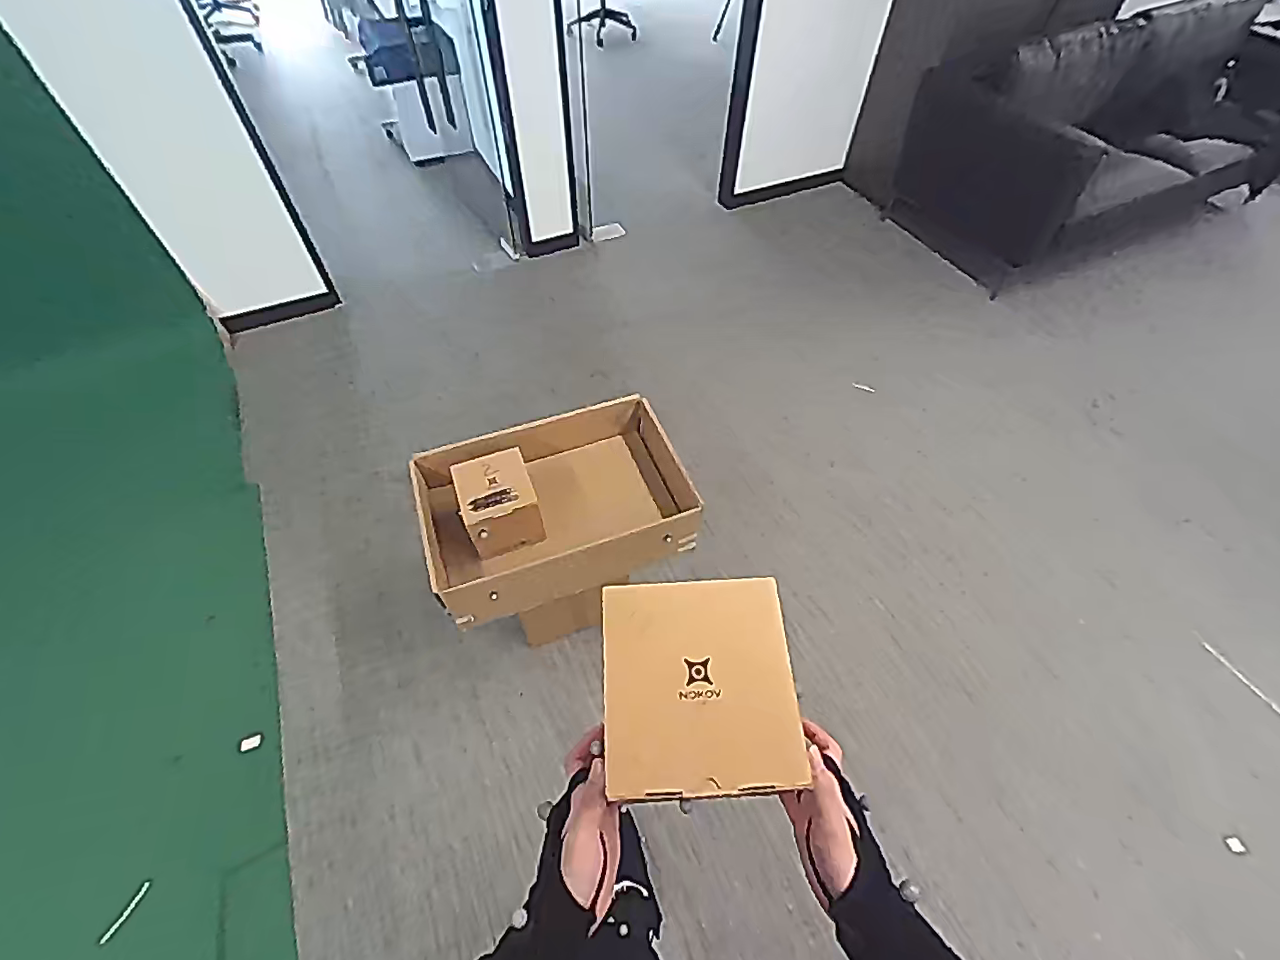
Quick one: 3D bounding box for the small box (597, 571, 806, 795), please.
[{"bbox_3d":[0.044,0.202,0.528,0.168,0.176,0.179,-3,60,-1],"label":"small box"}]
